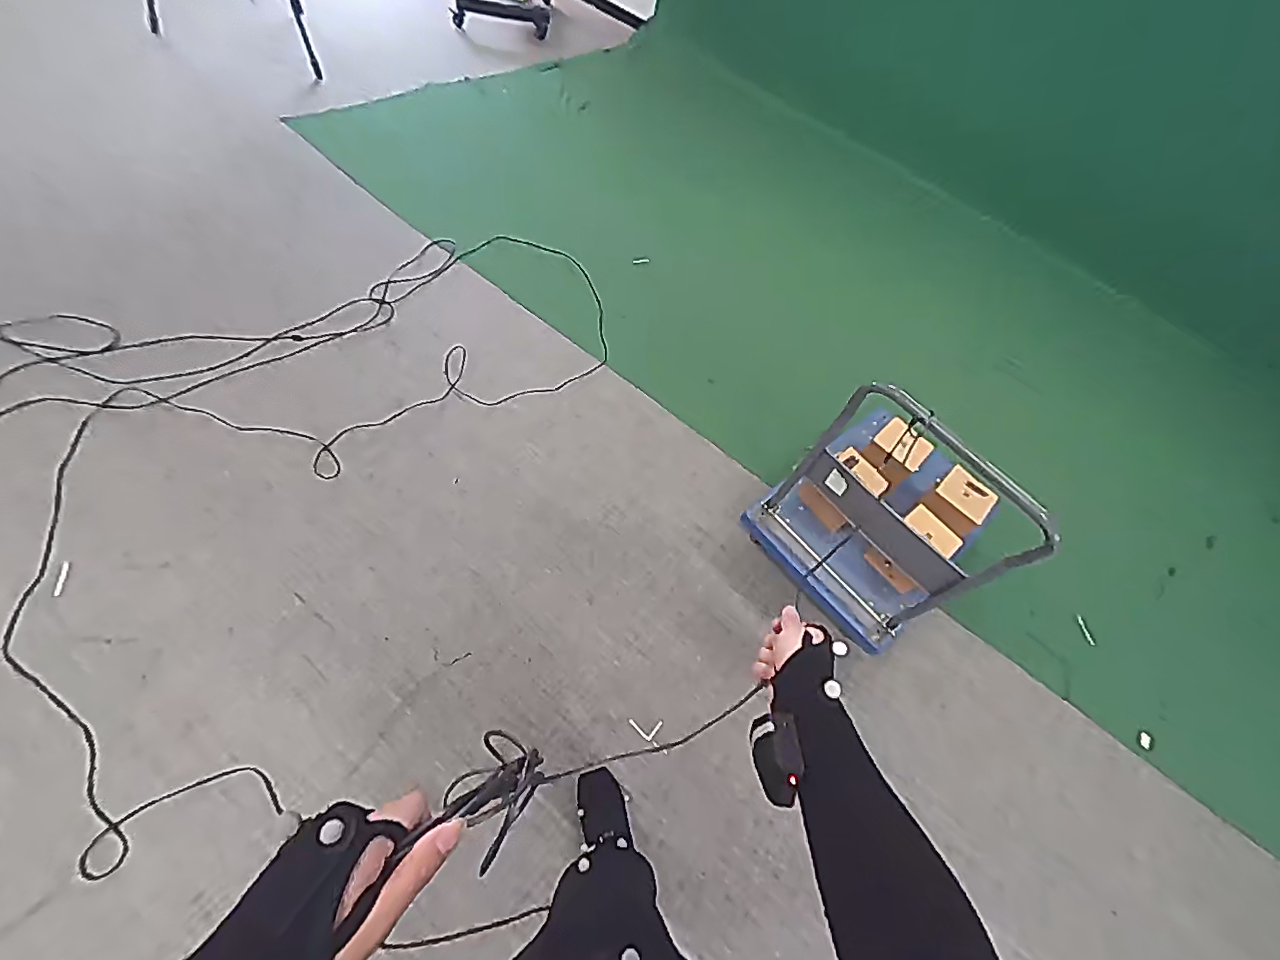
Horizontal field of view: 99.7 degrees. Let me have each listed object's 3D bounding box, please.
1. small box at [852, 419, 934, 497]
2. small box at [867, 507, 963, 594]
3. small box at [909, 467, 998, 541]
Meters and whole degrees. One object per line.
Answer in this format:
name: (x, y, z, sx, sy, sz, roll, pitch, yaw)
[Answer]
small box: (0.871, -0.072, 1.883, 0.179, 0.176, 0.168, -36, 72, -31)
small box: (0.847, 0.221, 1.682, 0.179, 0.176, 0.168, -31, 69, -29)
small box: (1.046, 0.095, 1.816, 0.179, 0.176, 0.168, -36, 71, -30)
